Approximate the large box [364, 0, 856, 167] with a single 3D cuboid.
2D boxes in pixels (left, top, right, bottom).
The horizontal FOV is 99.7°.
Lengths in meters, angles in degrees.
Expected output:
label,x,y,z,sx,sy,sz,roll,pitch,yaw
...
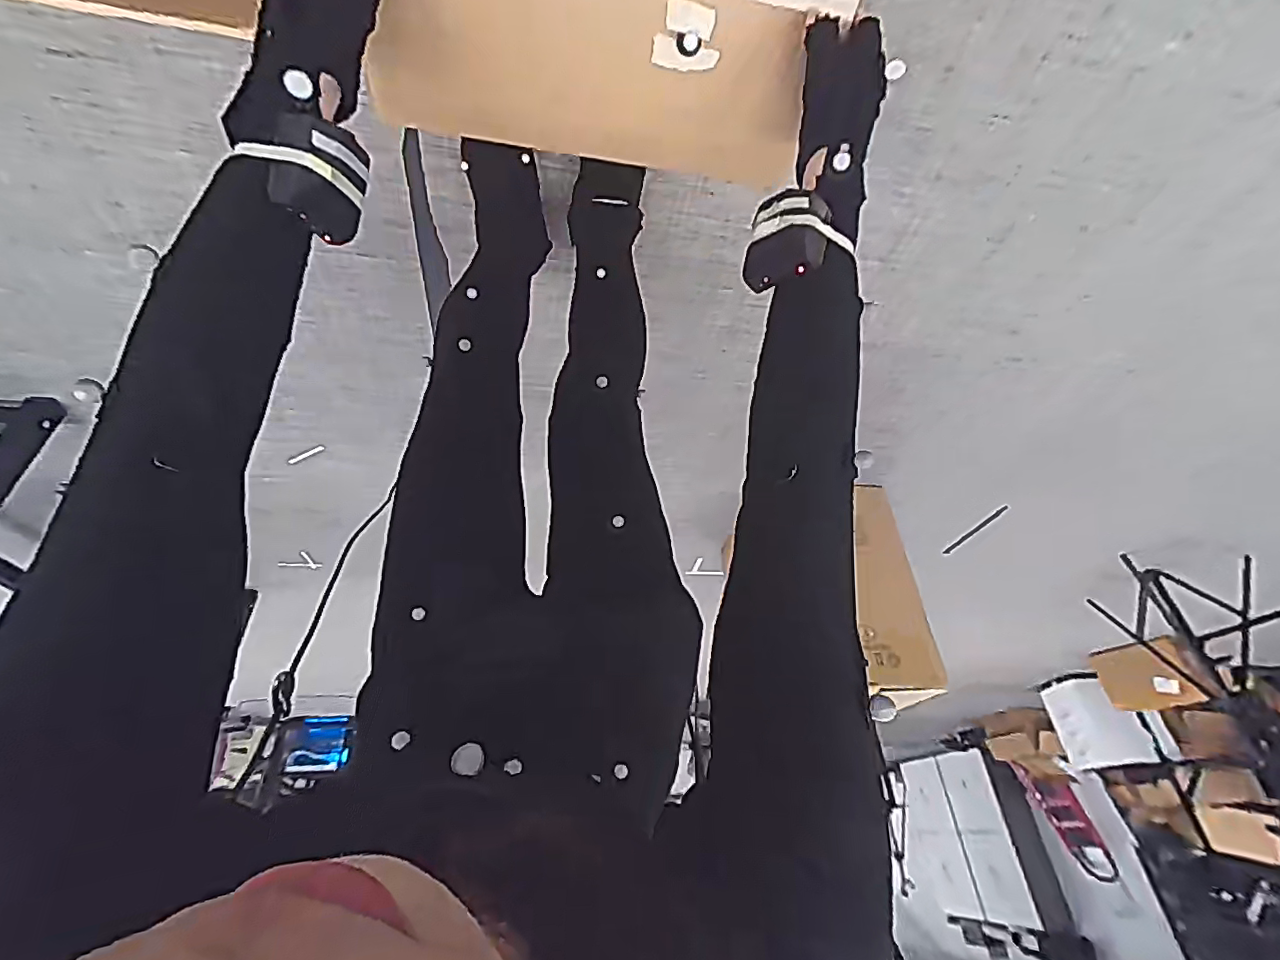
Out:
label,x,y,z,sx,sy,sz,roll,pitch,yaw
large box,-0.025,-0.536,0.482,0.408,0.320,0.320,2,147,-11
